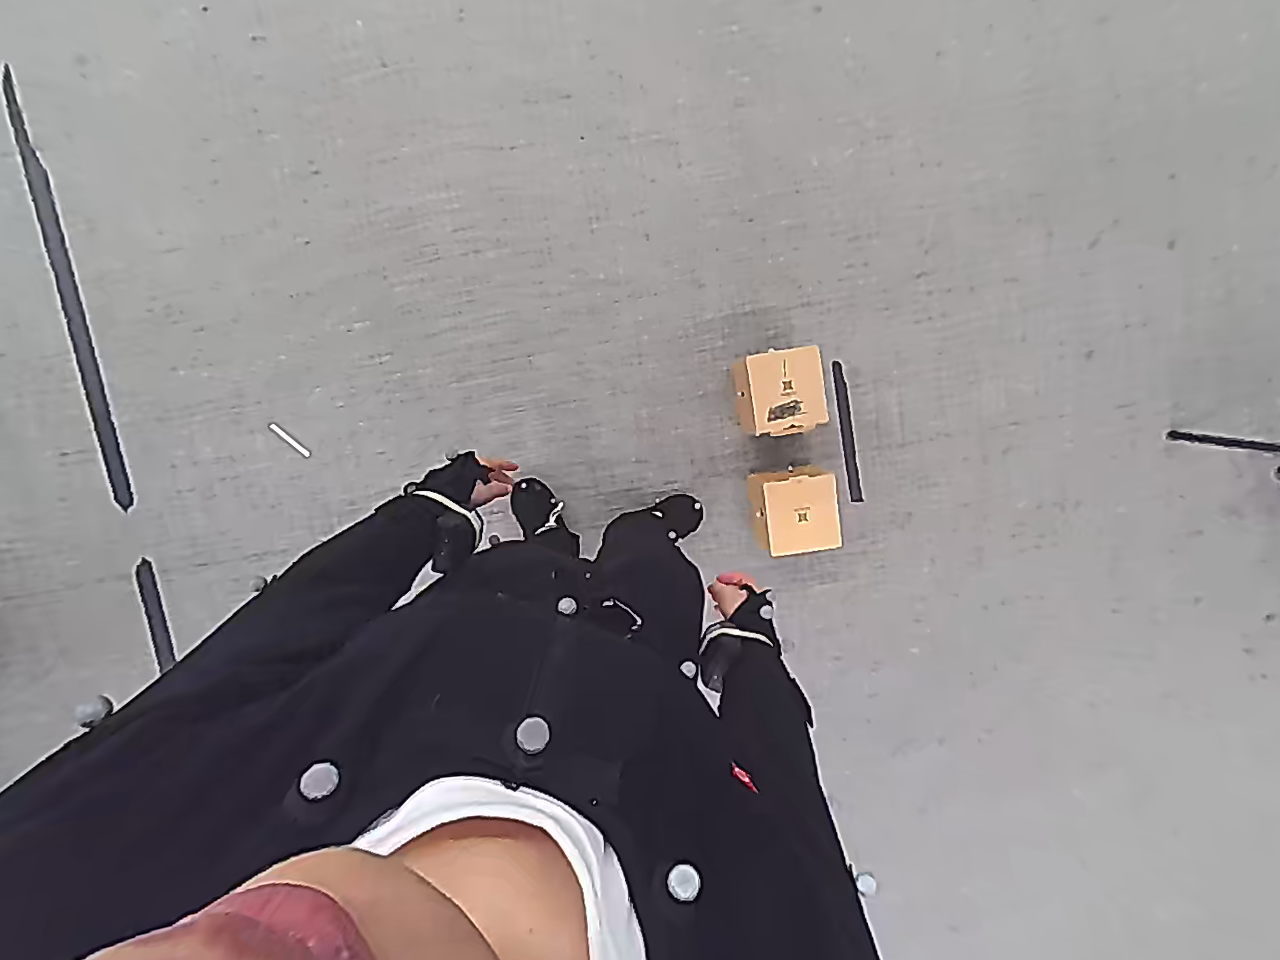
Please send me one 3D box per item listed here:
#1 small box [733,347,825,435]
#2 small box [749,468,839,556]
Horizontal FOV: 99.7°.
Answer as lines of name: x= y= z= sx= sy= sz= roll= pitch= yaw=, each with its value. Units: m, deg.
small box: x=0.324 y=-0.207 z=1.283 sx=0.168 sy=0.176 sz=0.179 roll=-9 pitch=95 yaw=0
small box: x=0.368 y=0.072 z=1.317 sx=0.168 sy=0.176 sz=0.179 roll=-8 pitch=96 yaw=1
